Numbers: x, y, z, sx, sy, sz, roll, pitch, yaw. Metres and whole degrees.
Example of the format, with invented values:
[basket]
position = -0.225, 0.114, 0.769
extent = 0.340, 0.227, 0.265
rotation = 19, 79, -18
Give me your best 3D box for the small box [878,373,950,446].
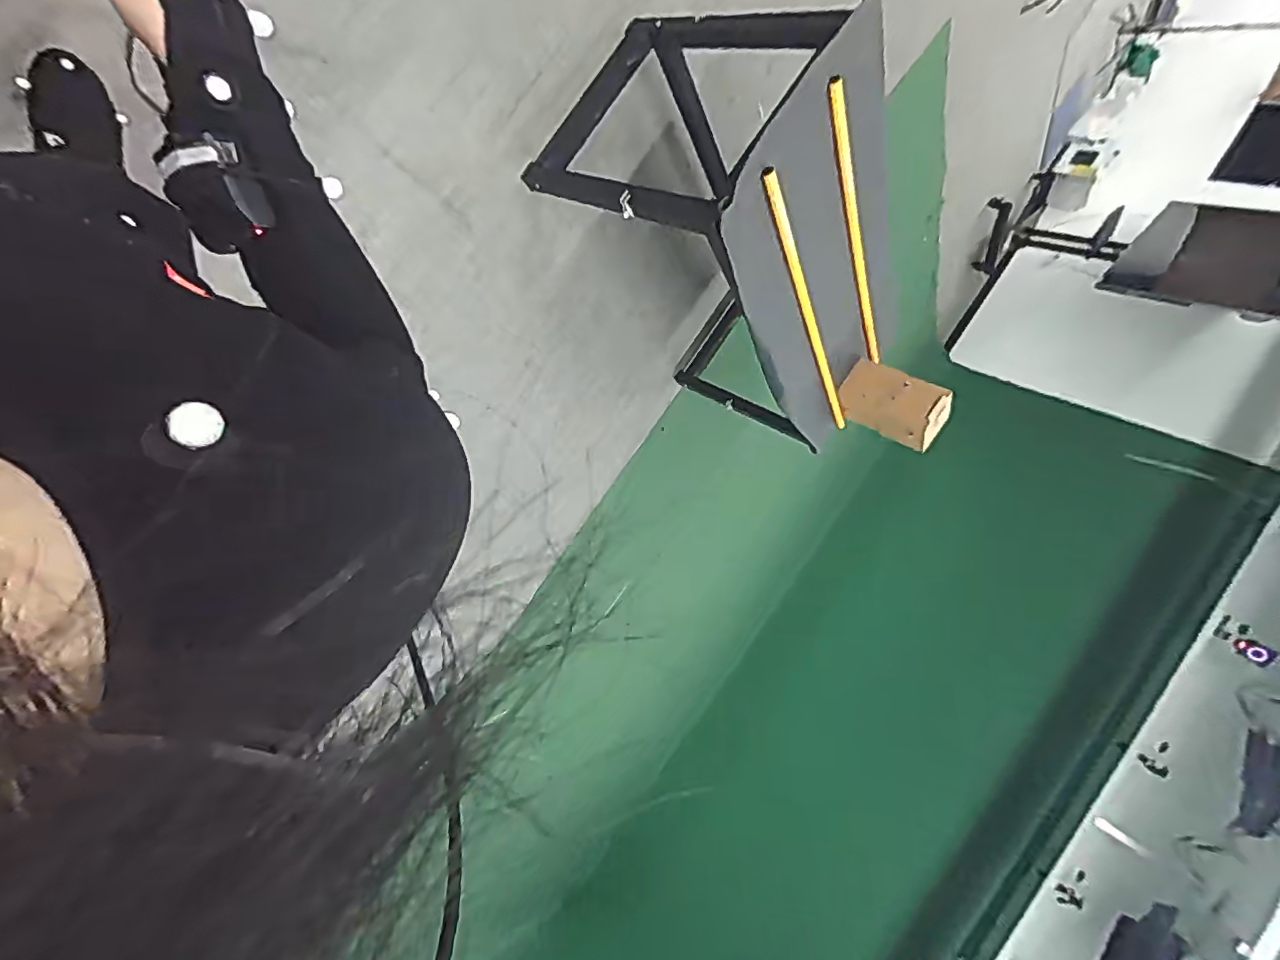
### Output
[small box]
position = 0.956, -0.253, 1.896
extent = 0.168, 0.176, 0.179
rotation = -52, 146, -6
